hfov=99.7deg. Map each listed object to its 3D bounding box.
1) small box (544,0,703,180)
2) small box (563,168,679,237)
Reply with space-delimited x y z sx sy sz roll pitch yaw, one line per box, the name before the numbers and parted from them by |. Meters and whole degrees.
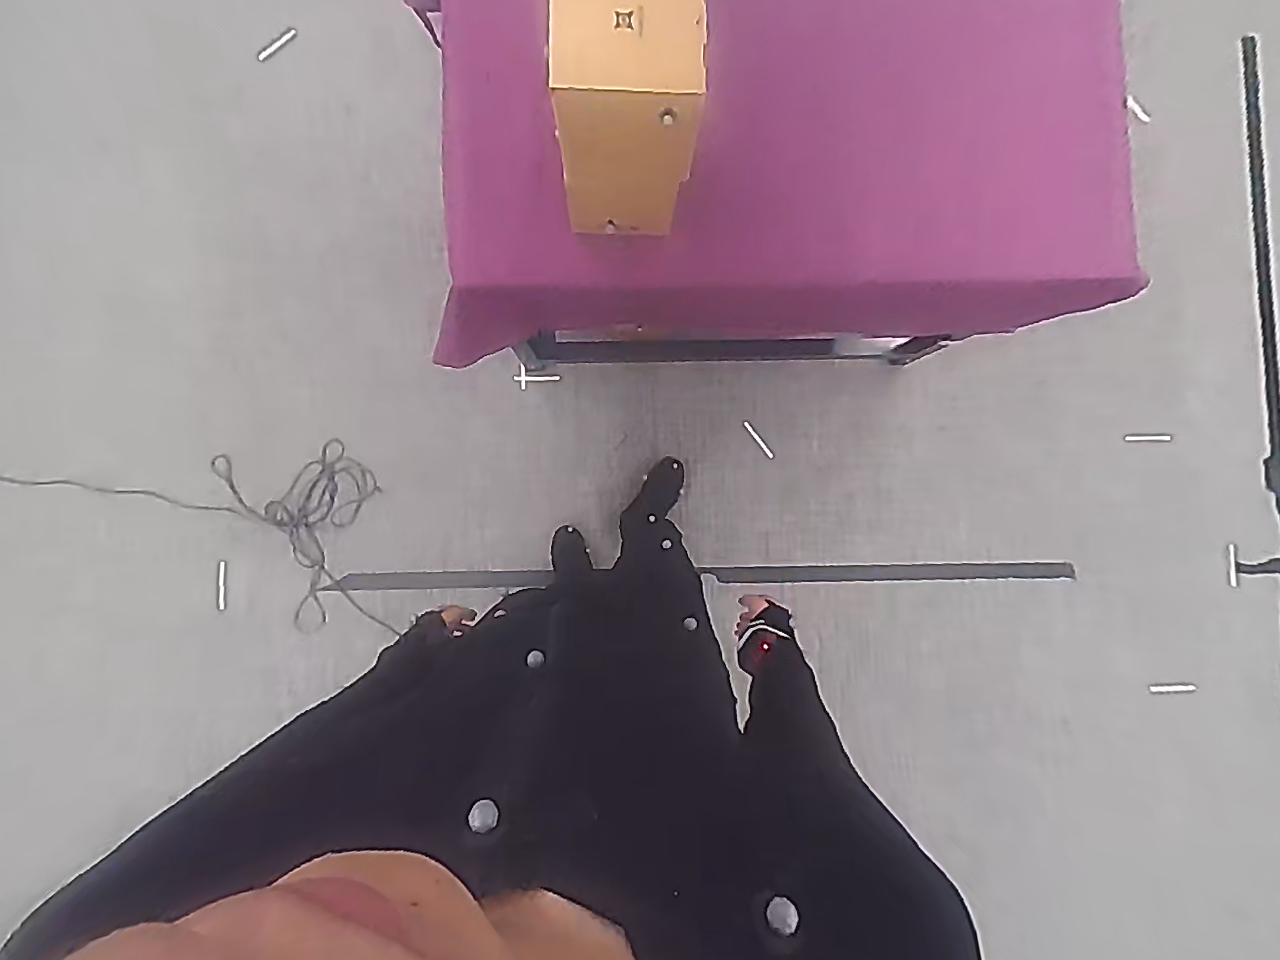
small box | -0.019 -0.499 0.671 0.179 0.176 0.168 0 89 -3
small box | -0.030 -0.501 0.833 0.168 0.176 0.179 -1 89 -2
